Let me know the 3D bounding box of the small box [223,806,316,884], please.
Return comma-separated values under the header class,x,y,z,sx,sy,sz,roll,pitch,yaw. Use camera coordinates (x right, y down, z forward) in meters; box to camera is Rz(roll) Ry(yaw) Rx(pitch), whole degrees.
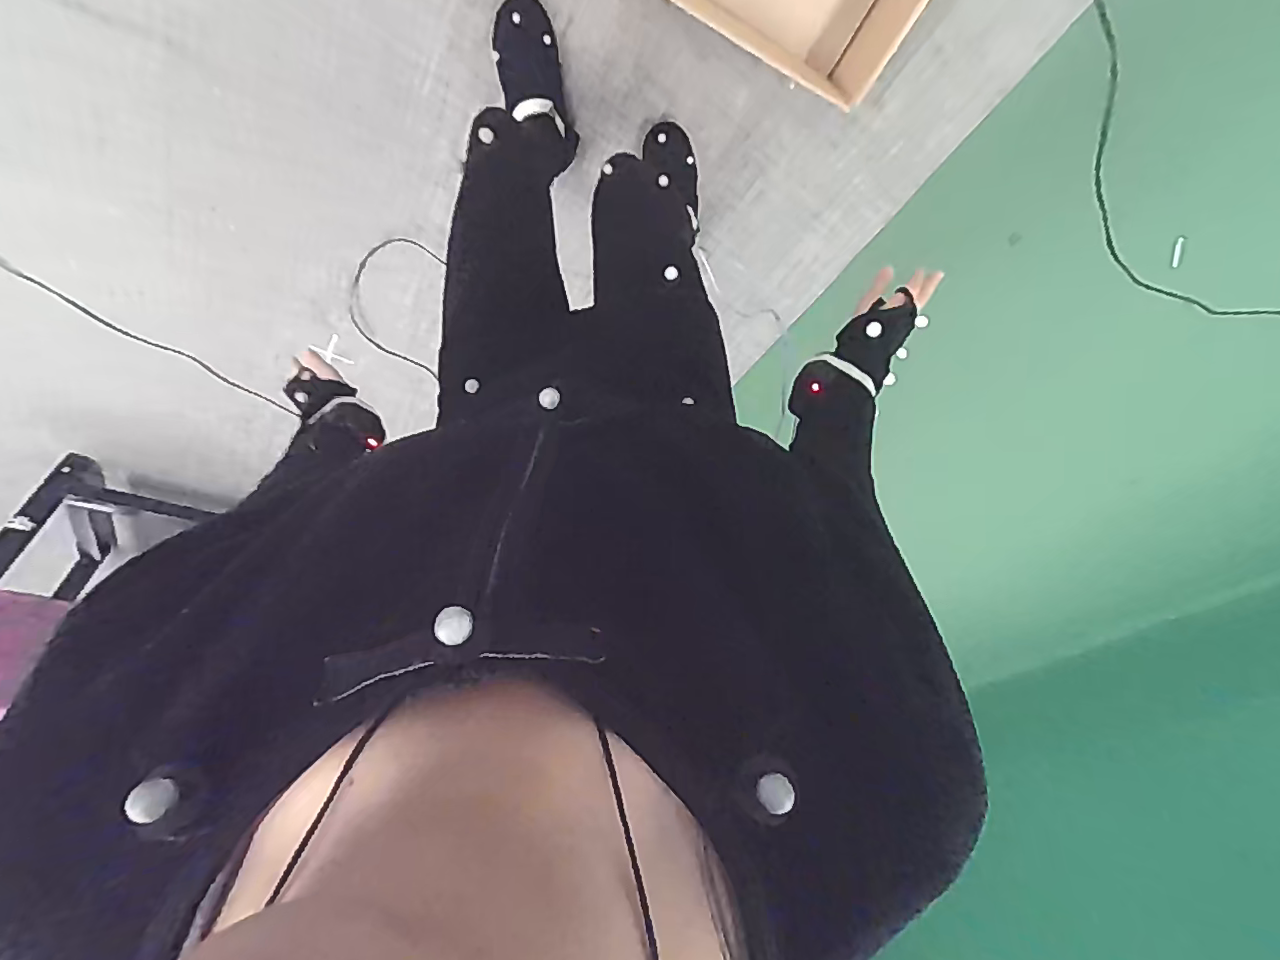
class,x,y,z,sx,sy,sz,roll,pitch,yaw
small box,-1.064,1.050,1.557,0.179,0.176,0.168,17,136,-24
